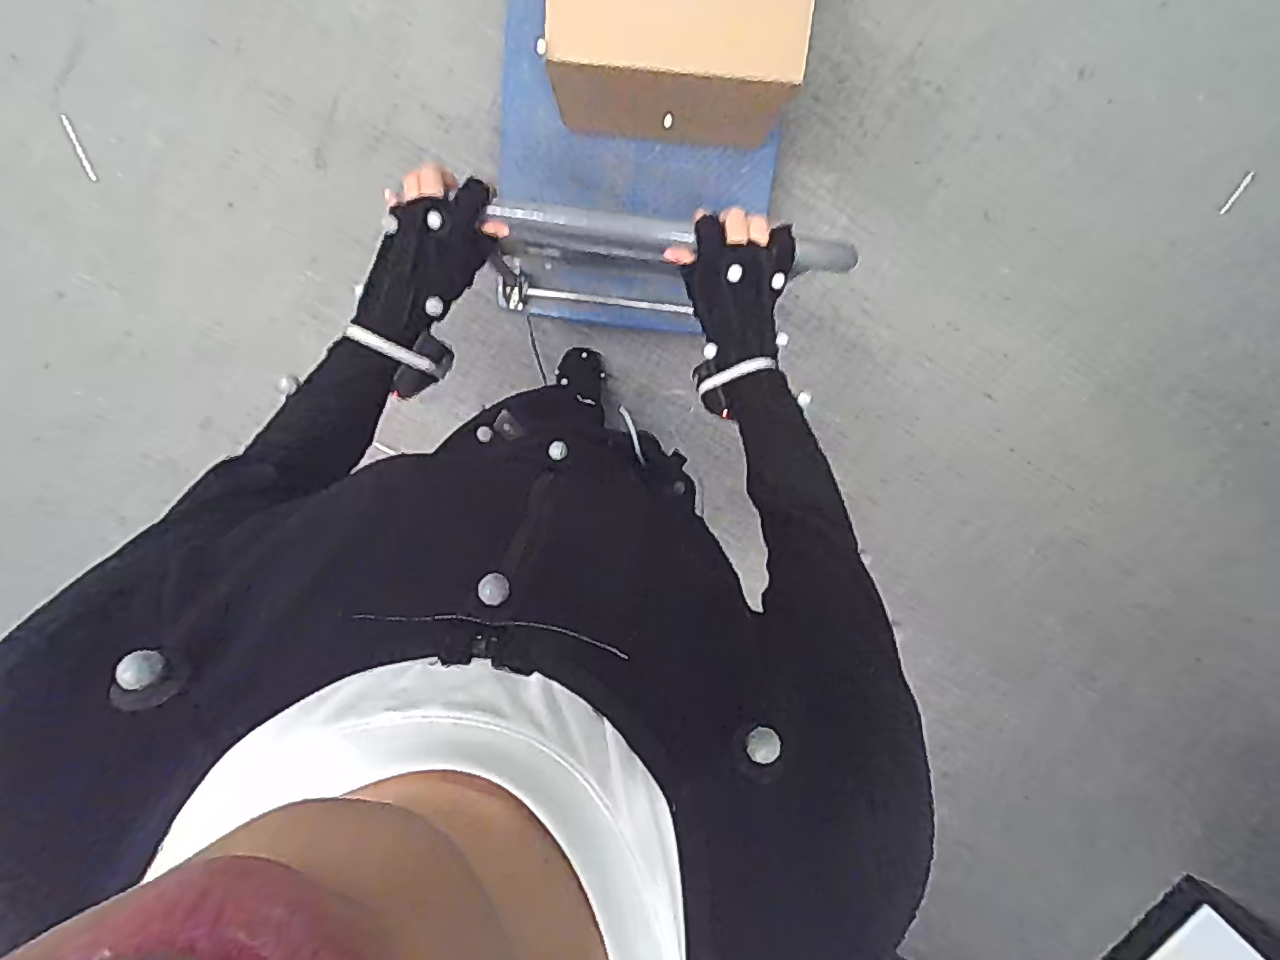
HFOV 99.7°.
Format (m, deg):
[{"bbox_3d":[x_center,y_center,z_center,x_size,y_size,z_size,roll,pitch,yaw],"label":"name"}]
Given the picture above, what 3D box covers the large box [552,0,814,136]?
[{"bbox_3d":[0.071,-0.830,0.942,0.408,0.320,0.320,3,104,-1],"label":"large box"}]
